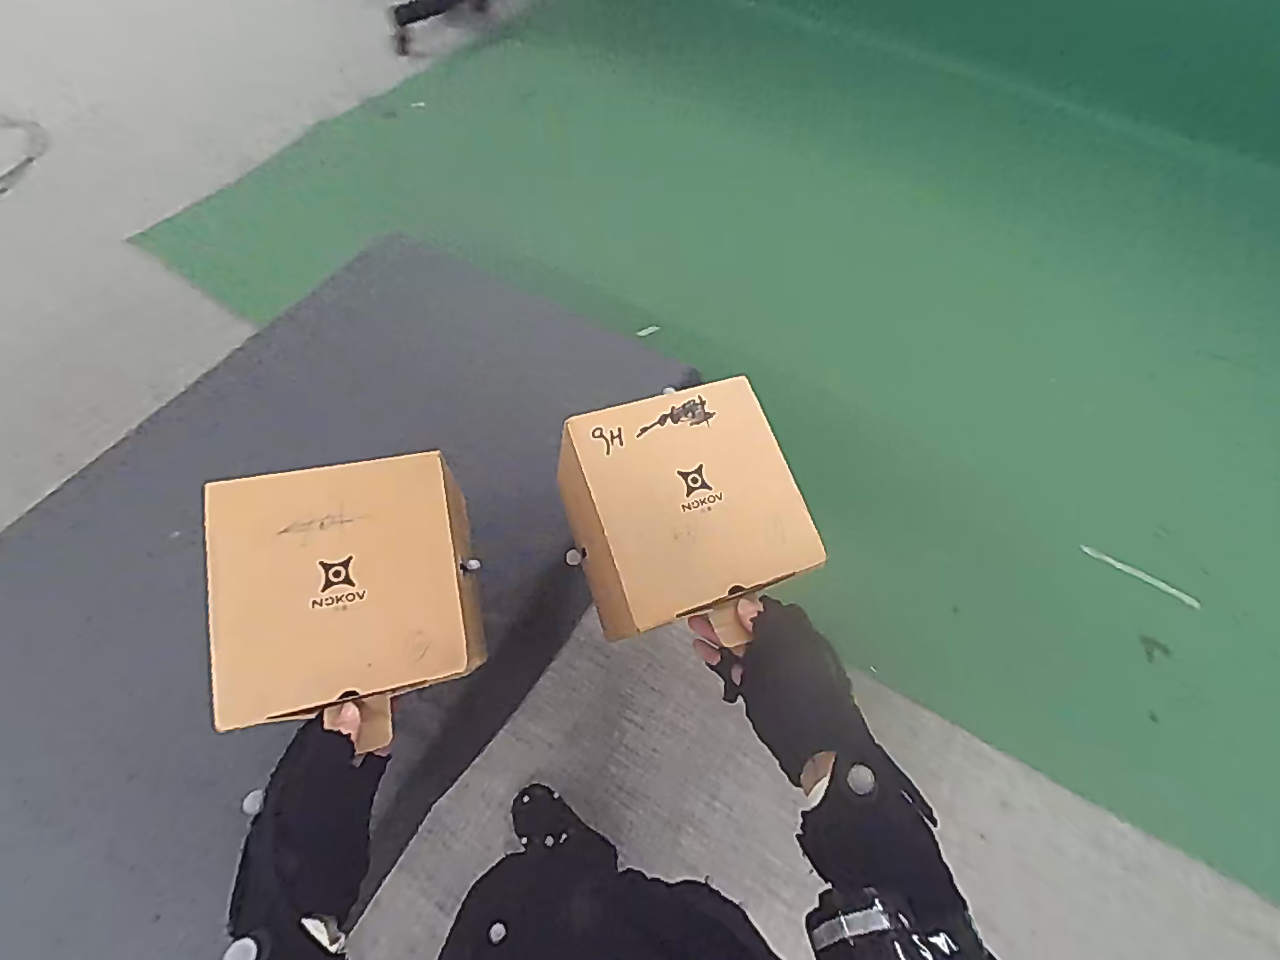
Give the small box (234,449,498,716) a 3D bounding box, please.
[{"bbox_3d":[-0.223,0.087,0.480,0.168,0.176,0.179,-9,77,-14],"label":"small box"}]
